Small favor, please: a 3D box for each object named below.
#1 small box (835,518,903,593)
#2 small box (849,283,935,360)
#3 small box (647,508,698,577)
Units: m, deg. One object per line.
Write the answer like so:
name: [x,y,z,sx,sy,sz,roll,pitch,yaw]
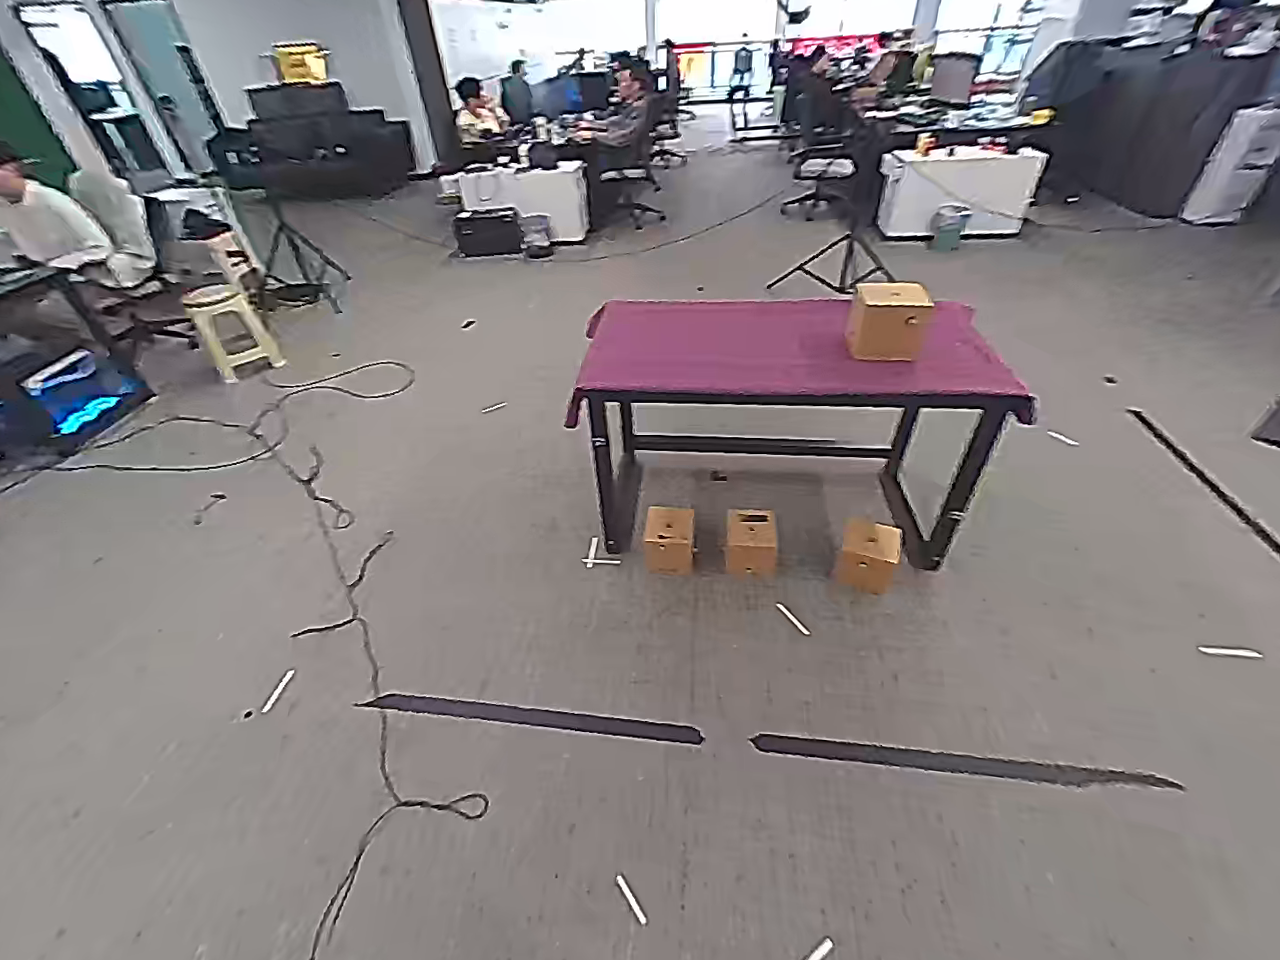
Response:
small box: [0.783,0.261,1.849,0.179,0.176,0.168,13,44,21]
small box: [0.725,-0.460,1.574,0.179,0.176,0.168,3,40,9]
small box: [0.118,0.223,1.949,0.168,0.176,0.179,3,39,8]
